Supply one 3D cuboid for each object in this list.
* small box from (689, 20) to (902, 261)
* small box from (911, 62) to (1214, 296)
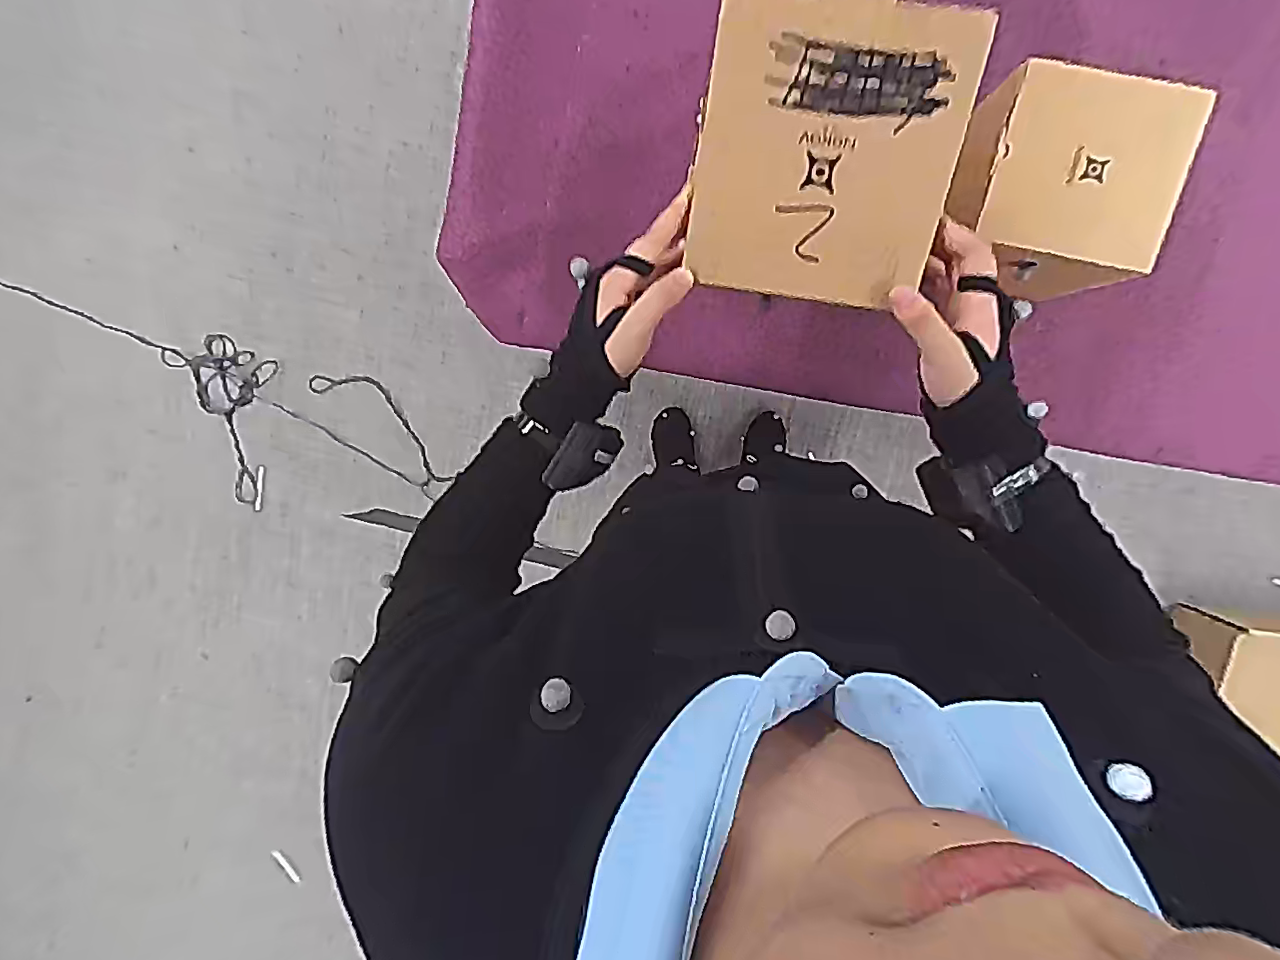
[{"bbox_3d":[0.156,-0.361,0.610,0.179,0.176,0.168,12,101,2],"label":"small box"},{"bbox_3d":[0.437,-0.310,0.596,0.179,0.176,0.168,13,101,4],"label":"small box"}]
